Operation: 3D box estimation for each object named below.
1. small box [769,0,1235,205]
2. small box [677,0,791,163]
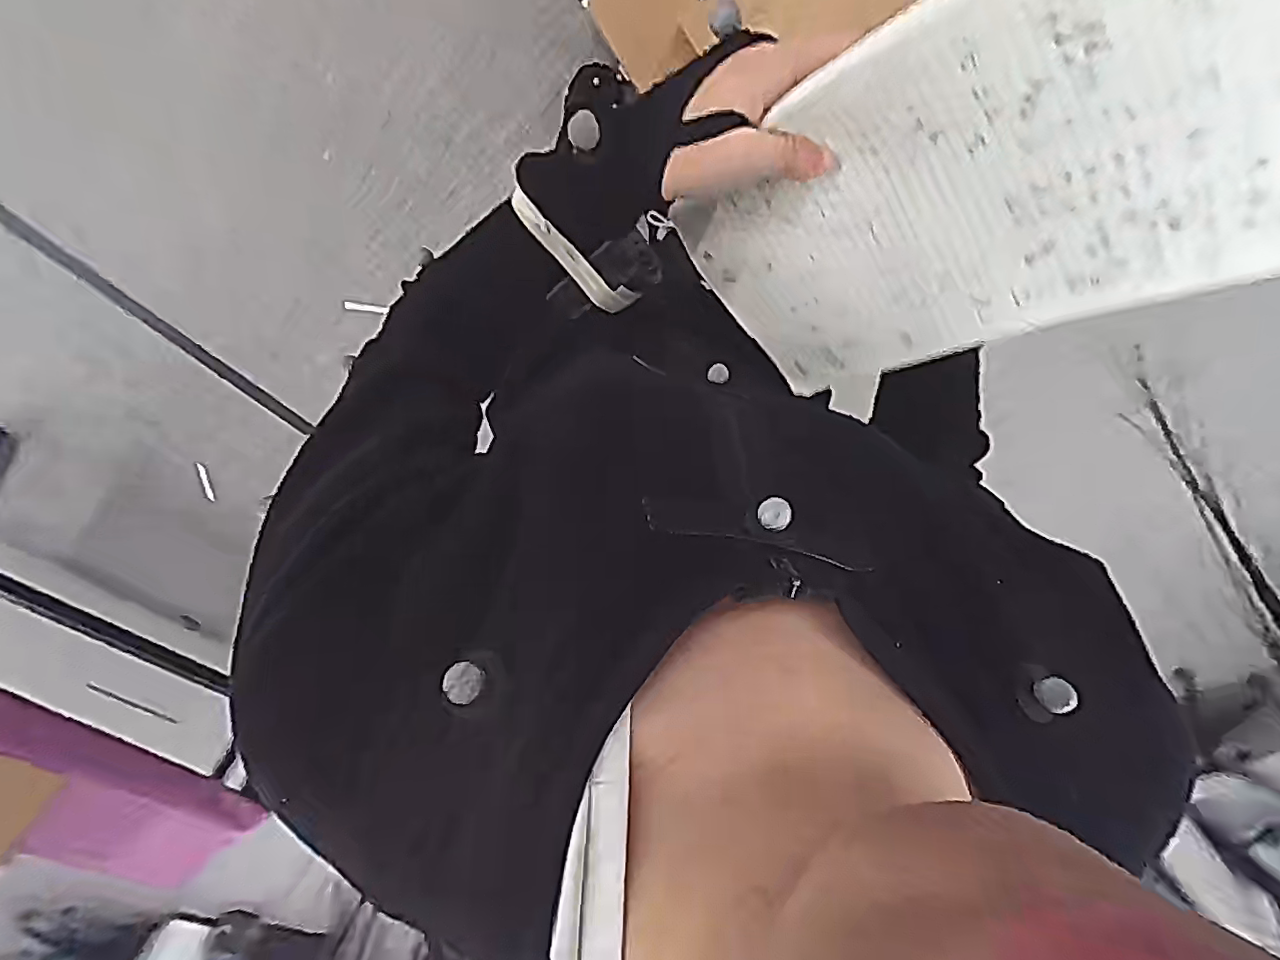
[{"bbox_3d":[0.201,-0.275,0.307,0.168,0.176,0.179,-5,122,-32],"label":"small box"},{"bbox_3d":[0.162,-0.528,0.661,0.168,0.176,0.179,-34,118,19],"label":"small box"}]
